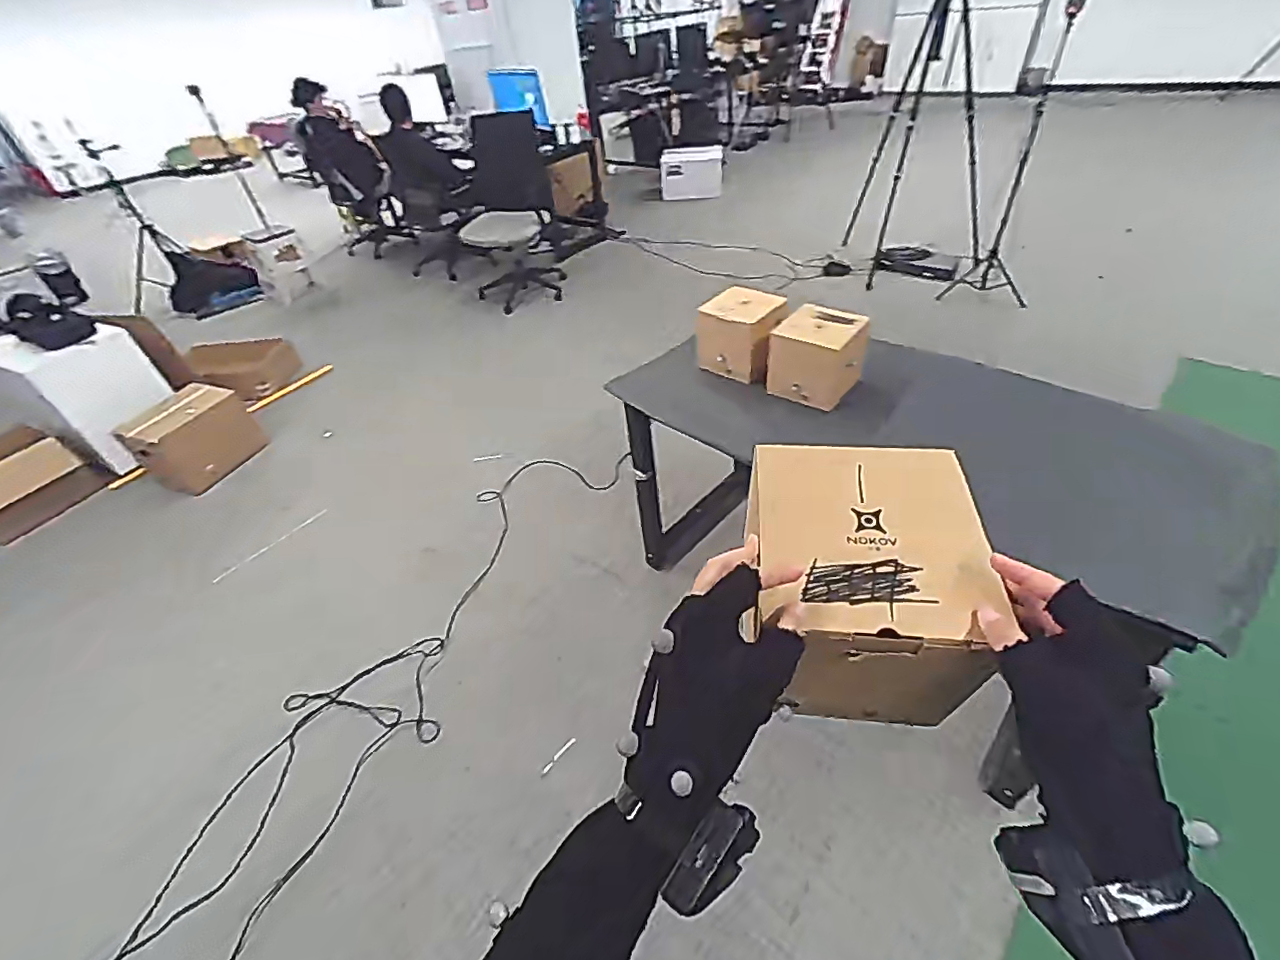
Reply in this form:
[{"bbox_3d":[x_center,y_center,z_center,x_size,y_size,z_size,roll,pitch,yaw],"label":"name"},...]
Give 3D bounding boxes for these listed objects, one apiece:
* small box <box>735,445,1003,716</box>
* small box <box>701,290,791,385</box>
[{"bbox_3d":[0.172,0.089,0.472,0.168,0.176,0.179,2,49,8],"label":"small box"},{"bbox_3d":[0.275,-0.376,1.426,0.168,0.176,0.179,28,52,33],"label":"small box"}]
